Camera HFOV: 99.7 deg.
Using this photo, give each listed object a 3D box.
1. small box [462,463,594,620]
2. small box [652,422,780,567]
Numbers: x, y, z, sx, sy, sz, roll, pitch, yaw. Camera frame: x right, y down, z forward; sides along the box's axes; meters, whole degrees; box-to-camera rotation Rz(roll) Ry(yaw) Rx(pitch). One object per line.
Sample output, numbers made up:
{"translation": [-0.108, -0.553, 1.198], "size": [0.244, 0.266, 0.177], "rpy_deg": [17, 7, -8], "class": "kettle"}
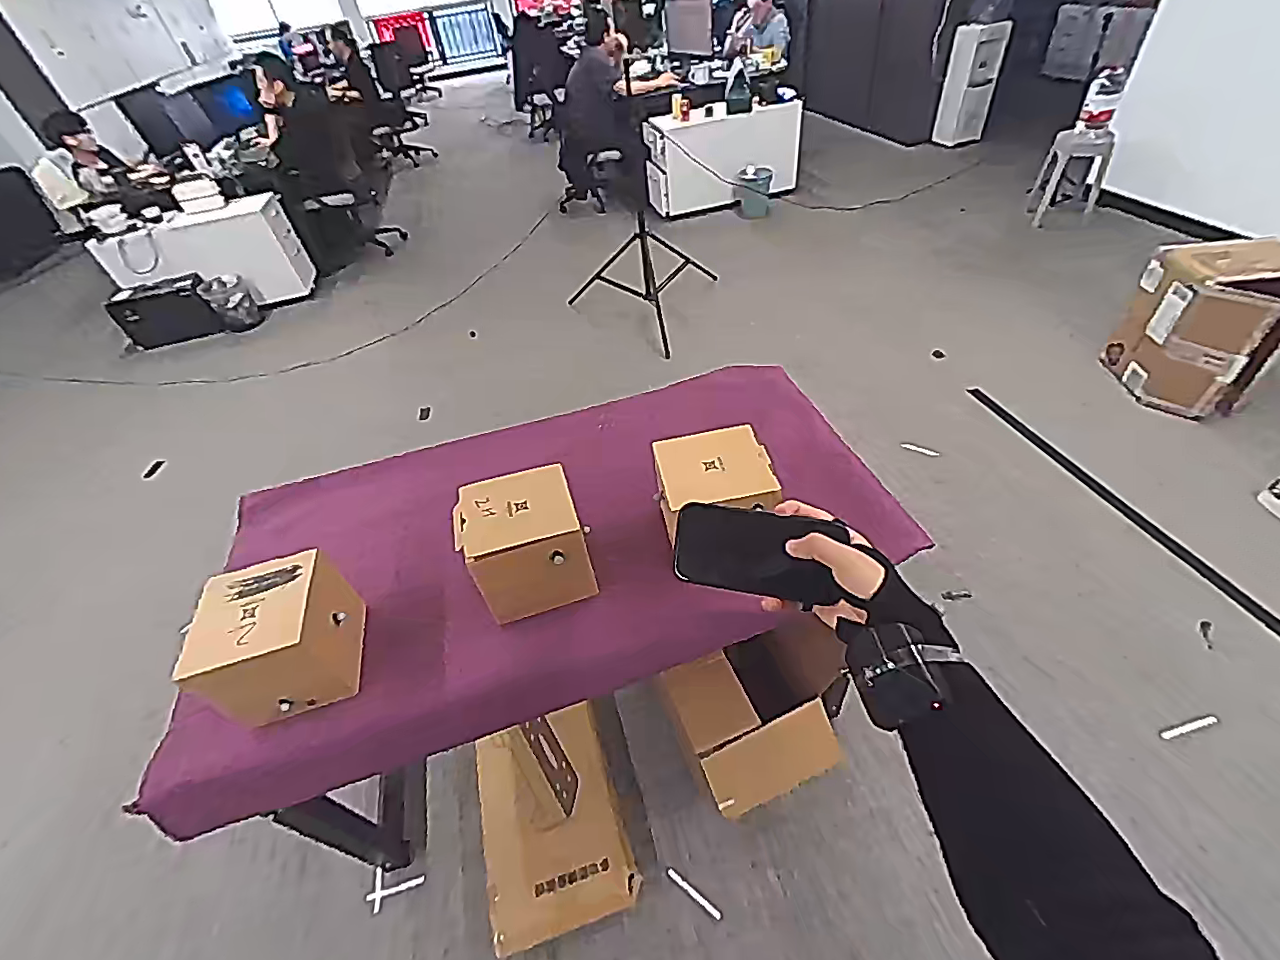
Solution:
{"translation": [-0.181, 0.103, 0.902], "size": [0.179, 0.176, 0.168], "rpy_deg": [-17, 43, -8], "class": "small box"}
{"translation": [0.127, 0.029, 0.929], "size": [0.179, 0.176, 0.168], "rpy_deg": [-12, 45, -3], "class": "small box"}
